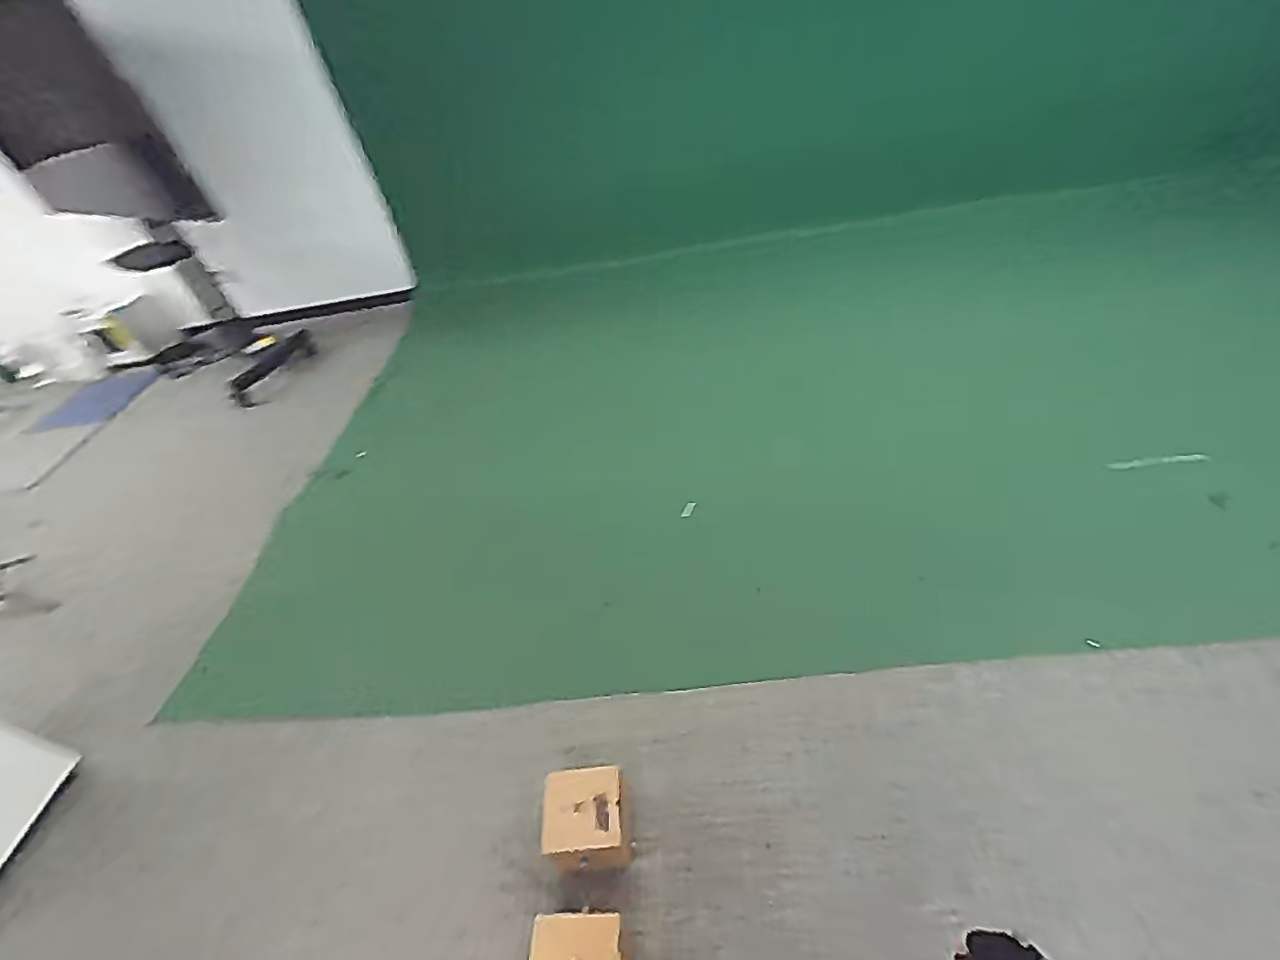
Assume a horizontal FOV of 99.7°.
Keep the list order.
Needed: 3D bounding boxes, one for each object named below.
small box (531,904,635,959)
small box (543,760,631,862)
[{"bbox_3d":[-0.112,0.968,1.081,0.179,0.176,0.168,-6,43,6],"label":"small box"},{"bbox_3d":[-0.117,0.783,1.276,0.179,0.176,0.168,-9,43,4],"label":"small box"}]
